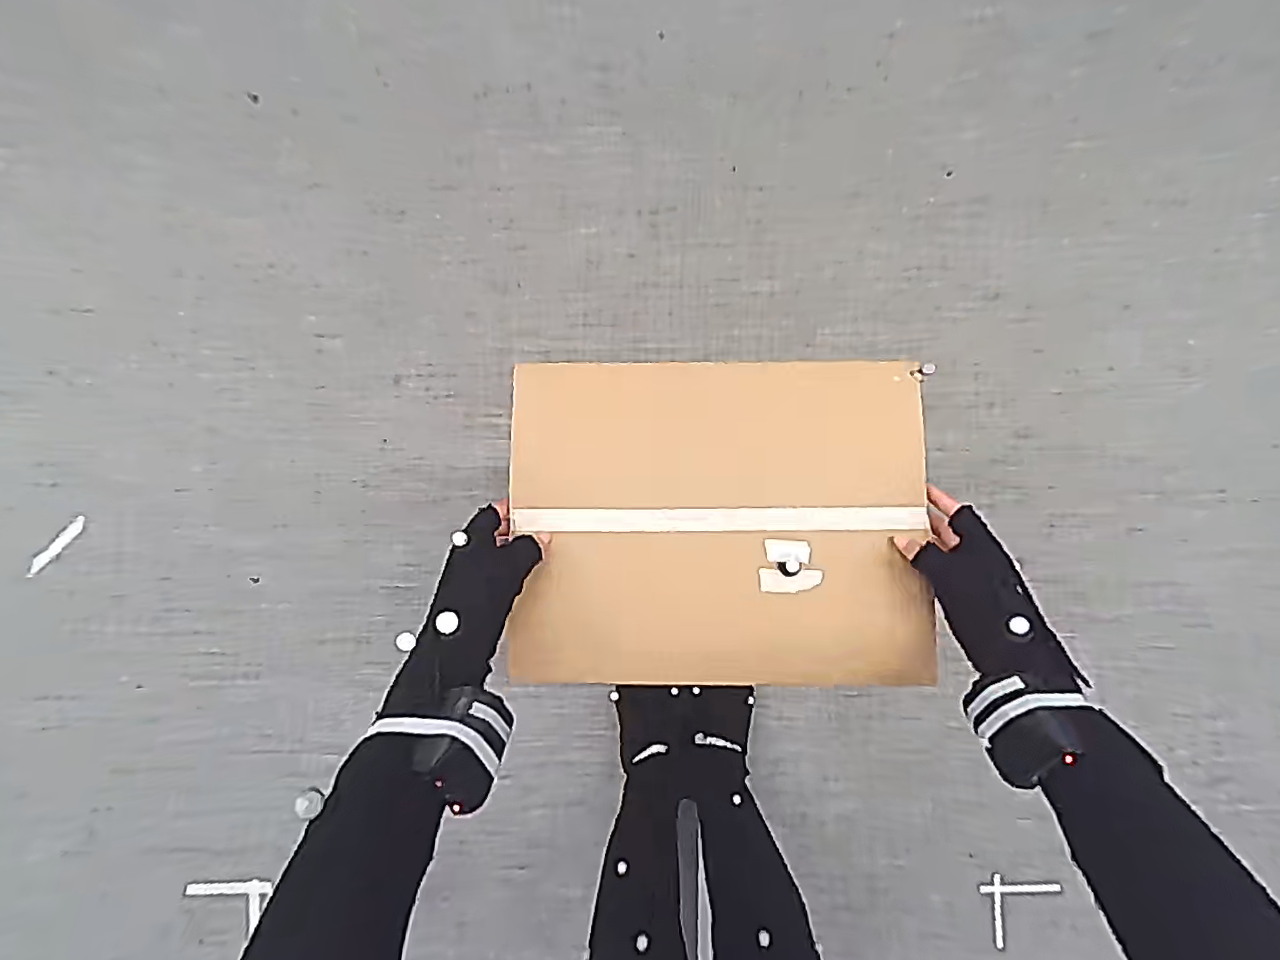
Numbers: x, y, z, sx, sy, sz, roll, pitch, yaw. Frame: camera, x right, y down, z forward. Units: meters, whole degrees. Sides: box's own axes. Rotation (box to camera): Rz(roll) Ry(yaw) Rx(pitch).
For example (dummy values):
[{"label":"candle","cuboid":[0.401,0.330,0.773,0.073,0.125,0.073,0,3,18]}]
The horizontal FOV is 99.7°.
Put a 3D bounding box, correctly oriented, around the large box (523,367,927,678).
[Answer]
[{"label":"large box","cuboid":[0.080,0.054,0.691,0.408,0.320,0.320,0,85,0]}]
